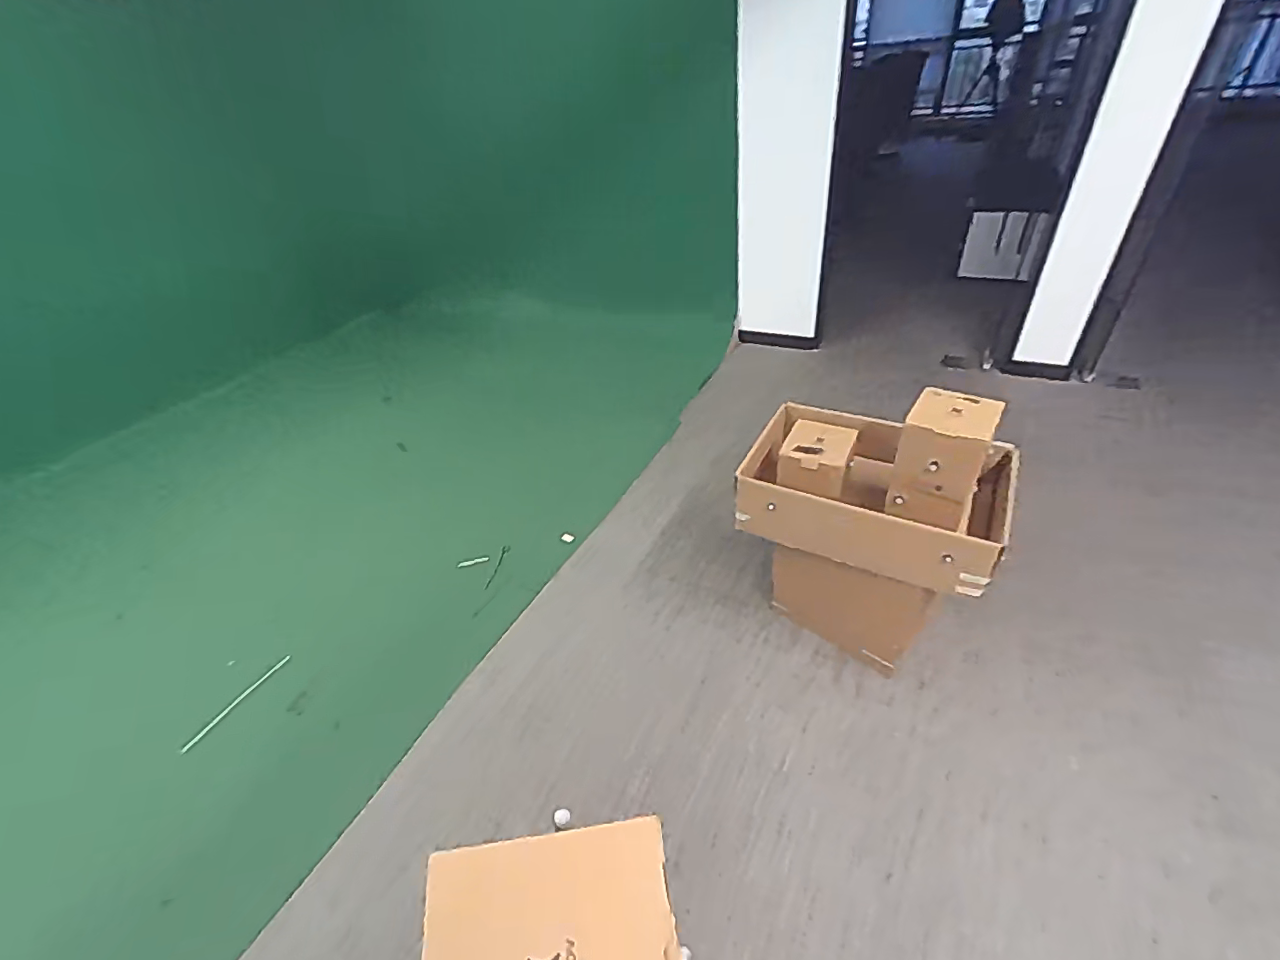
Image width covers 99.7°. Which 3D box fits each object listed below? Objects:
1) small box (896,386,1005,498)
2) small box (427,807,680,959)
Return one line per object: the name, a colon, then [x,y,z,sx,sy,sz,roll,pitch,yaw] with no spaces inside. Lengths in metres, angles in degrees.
small box: [0.698,-0.086,1.228,0.168,0.176,0.179,21,48,32]
small box: [-0.059,0.377,0.434,0.179,0.176,0.168,-6,55,-4]
